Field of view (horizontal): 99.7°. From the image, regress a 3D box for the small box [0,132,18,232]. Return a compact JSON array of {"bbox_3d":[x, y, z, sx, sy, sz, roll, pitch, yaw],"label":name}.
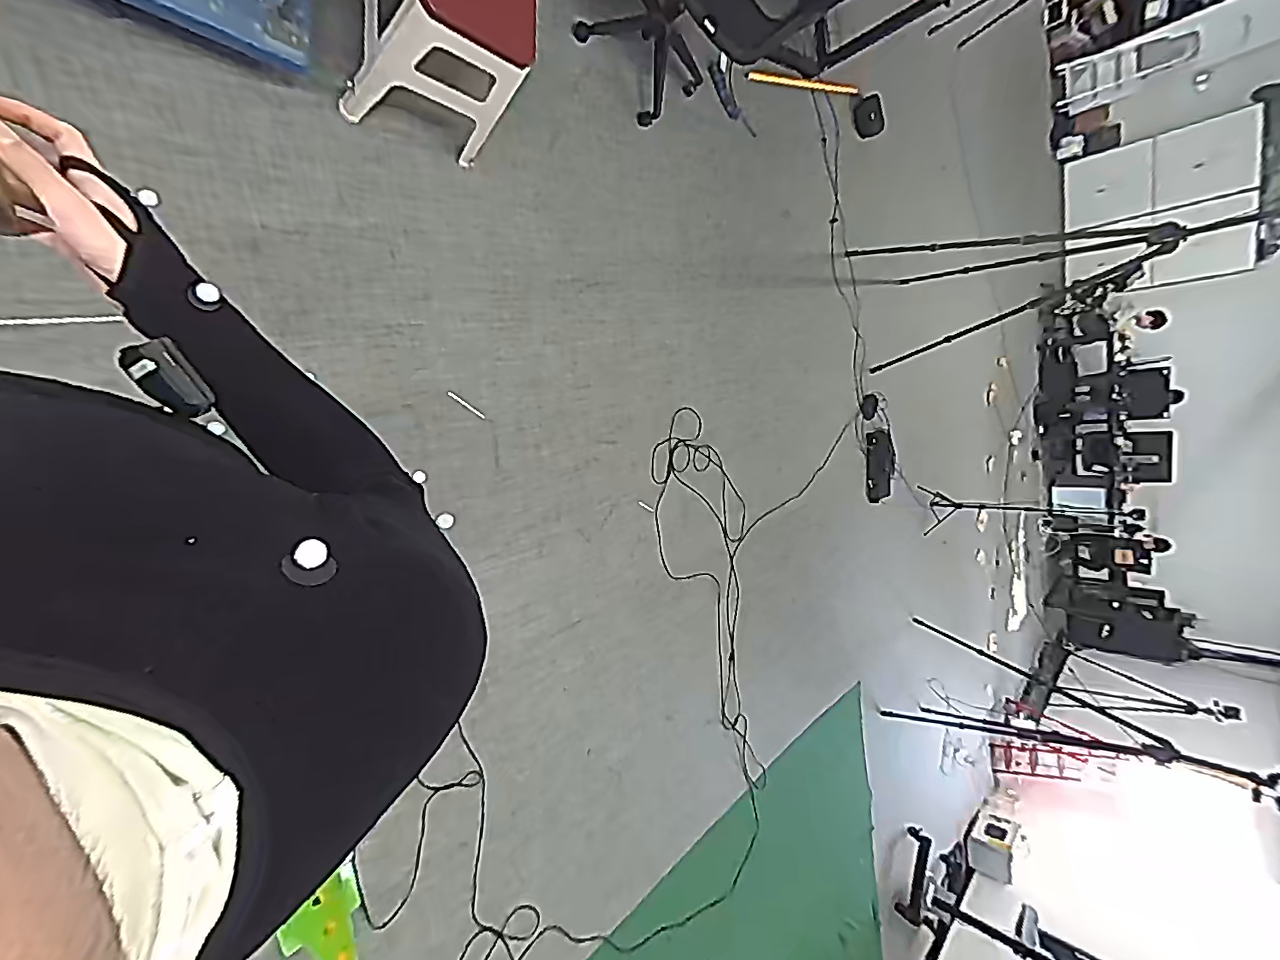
[{"bbox_3d":[-0.529,-0.271,0.328,0.168,0.176,0.179,-13,104,-41],"label":"small box"}]
